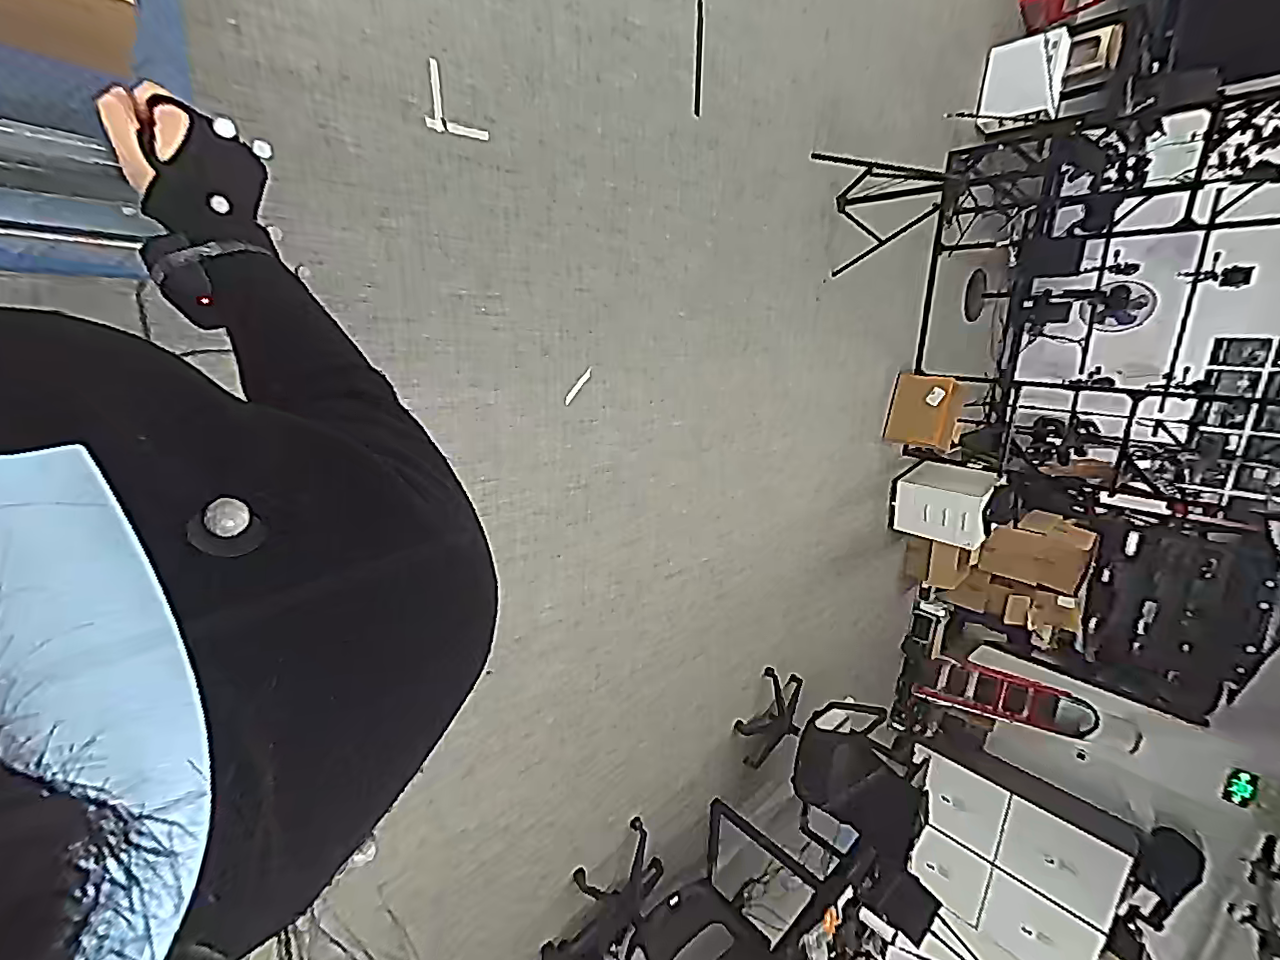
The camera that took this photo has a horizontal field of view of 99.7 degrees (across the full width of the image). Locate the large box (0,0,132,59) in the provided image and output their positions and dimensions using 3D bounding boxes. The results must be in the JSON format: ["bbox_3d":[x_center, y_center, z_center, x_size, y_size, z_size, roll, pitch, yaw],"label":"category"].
[{"bbox_3d":[-0.881,-0.769,0.615,0.408,0.320,0.320,-10,108,-42],"label":"large box"}]
